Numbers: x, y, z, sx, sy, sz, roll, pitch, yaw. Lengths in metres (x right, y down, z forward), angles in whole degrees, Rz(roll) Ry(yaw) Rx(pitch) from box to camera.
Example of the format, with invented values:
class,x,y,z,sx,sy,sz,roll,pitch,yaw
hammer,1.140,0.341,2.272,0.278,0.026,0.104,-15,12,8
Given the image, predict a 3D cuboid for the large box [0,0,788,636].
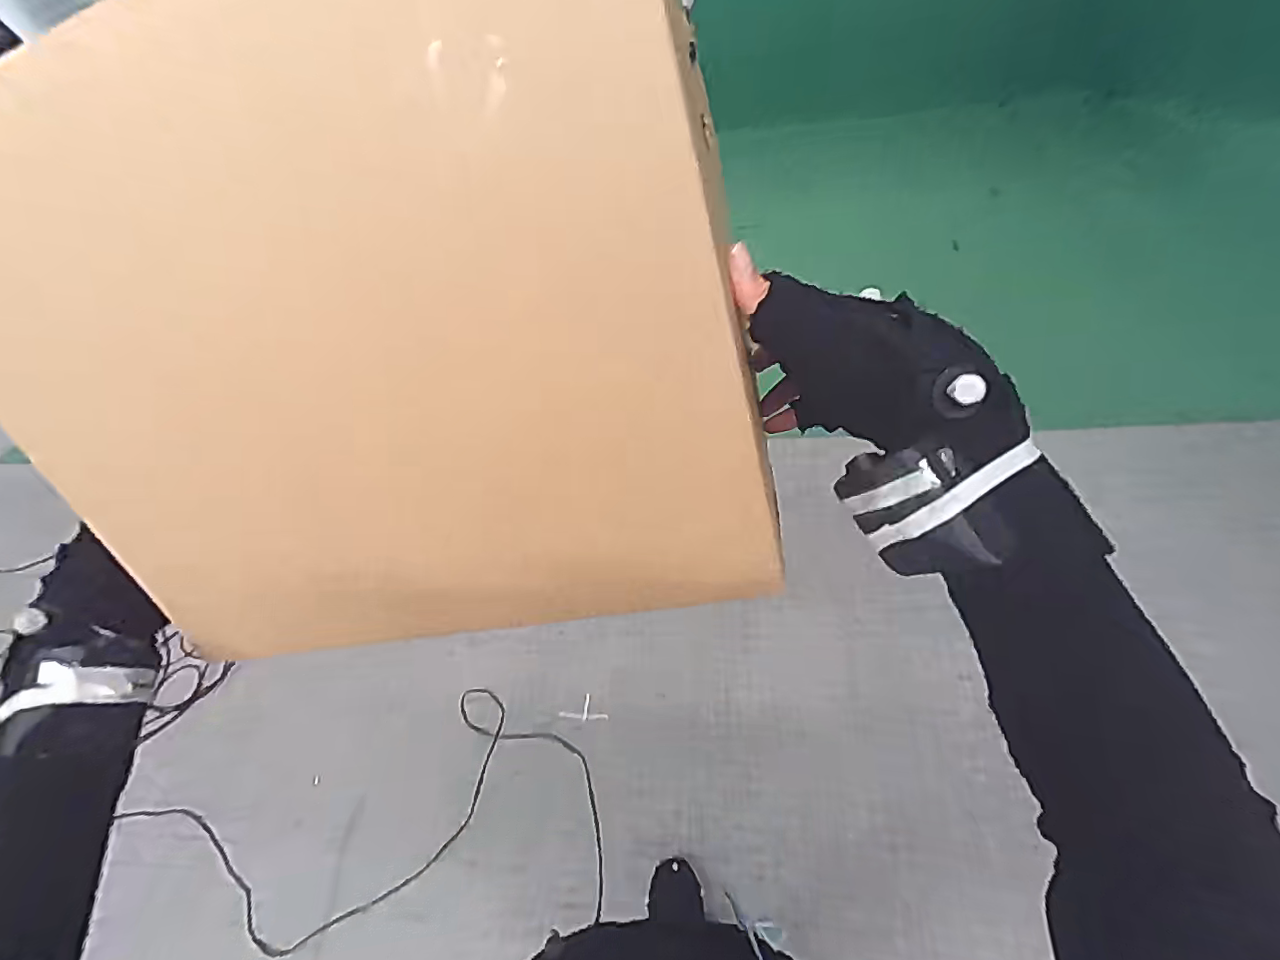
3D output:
class,x,y,z,sx,sy,sz,roll,pitch,yaw
large box,-0.124,-0.115,0.410,0.408,0.320,0.320,-9,27,14
